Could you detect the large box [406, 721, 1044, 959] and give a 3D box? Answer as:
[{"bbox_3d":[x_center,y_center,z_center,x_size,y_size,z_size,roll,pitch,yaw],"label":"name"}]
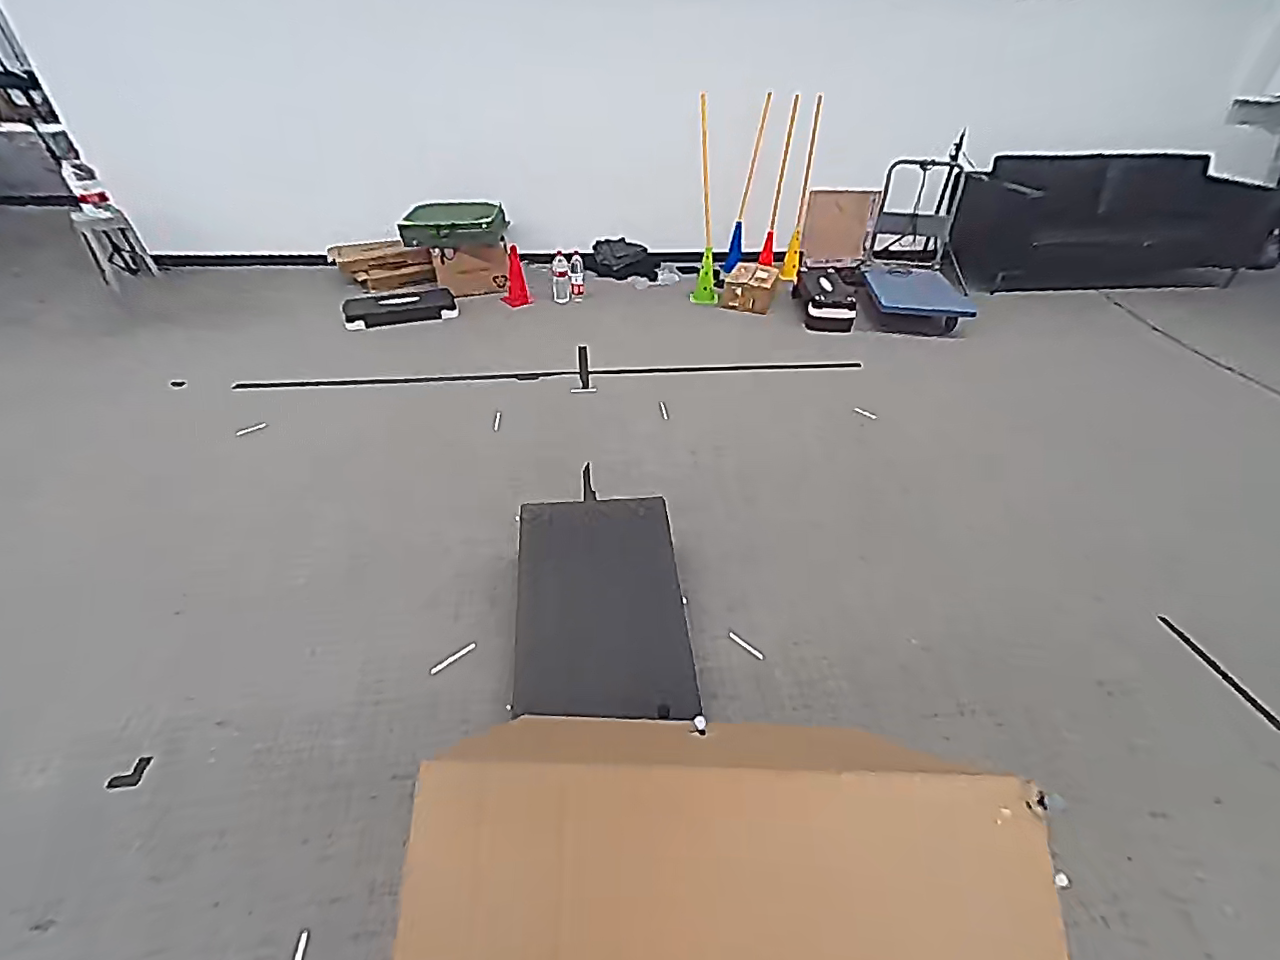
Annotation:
[{"bbox_3d":[0.050,0.387,0.464,0.408,0.320,0.320,1,73,0],"label":"large box"}]
